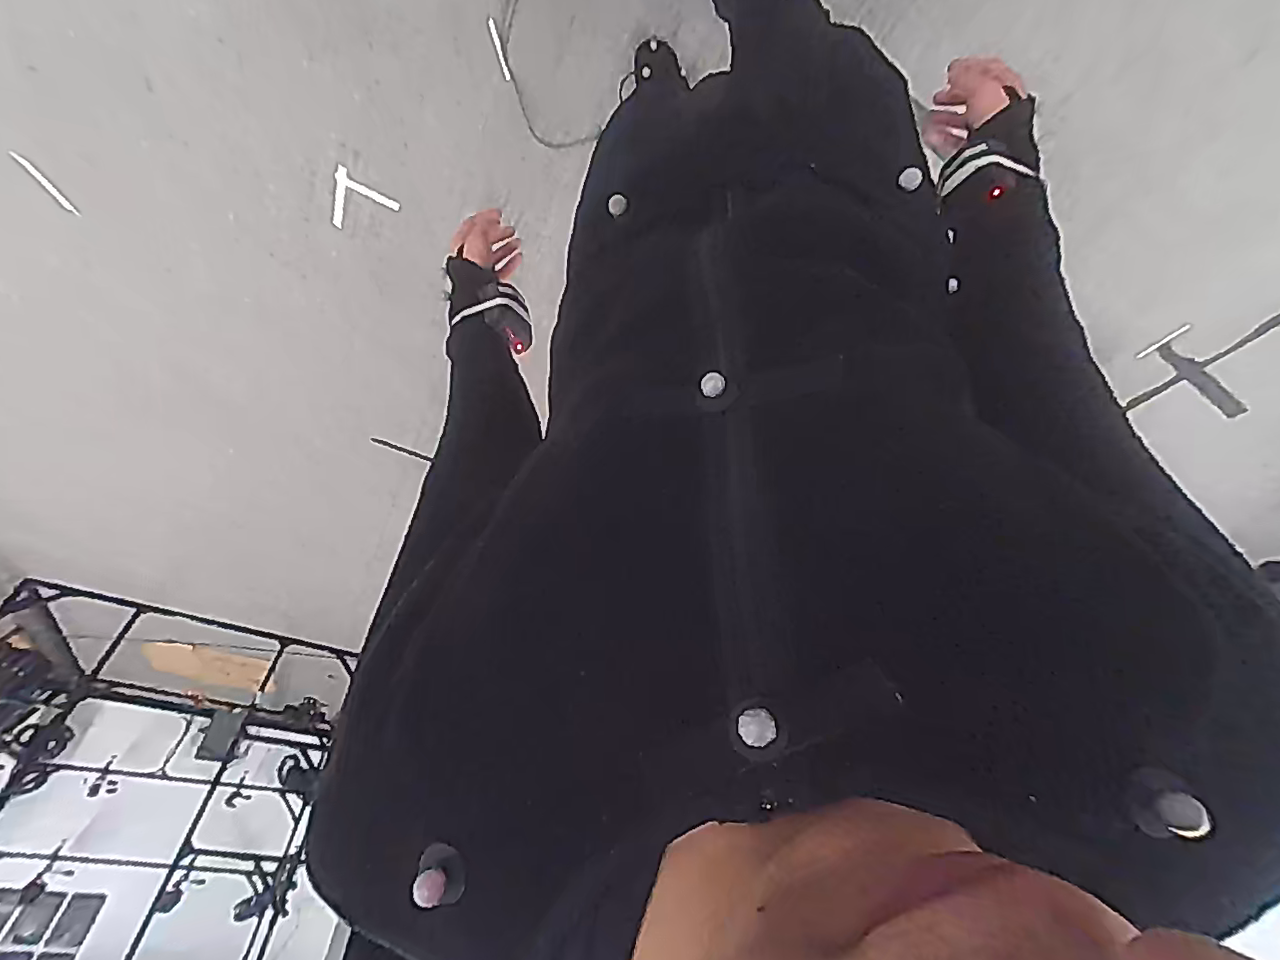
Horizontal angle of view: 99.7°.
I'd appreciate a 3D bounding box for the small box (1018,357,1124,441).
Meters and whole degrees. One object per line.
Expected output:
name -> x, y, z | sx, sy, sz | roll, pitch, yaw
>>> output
small box -> 1.344, -0.256, 1.696 | 0.179, 0.176, 0.168 | 21, 137, -18
